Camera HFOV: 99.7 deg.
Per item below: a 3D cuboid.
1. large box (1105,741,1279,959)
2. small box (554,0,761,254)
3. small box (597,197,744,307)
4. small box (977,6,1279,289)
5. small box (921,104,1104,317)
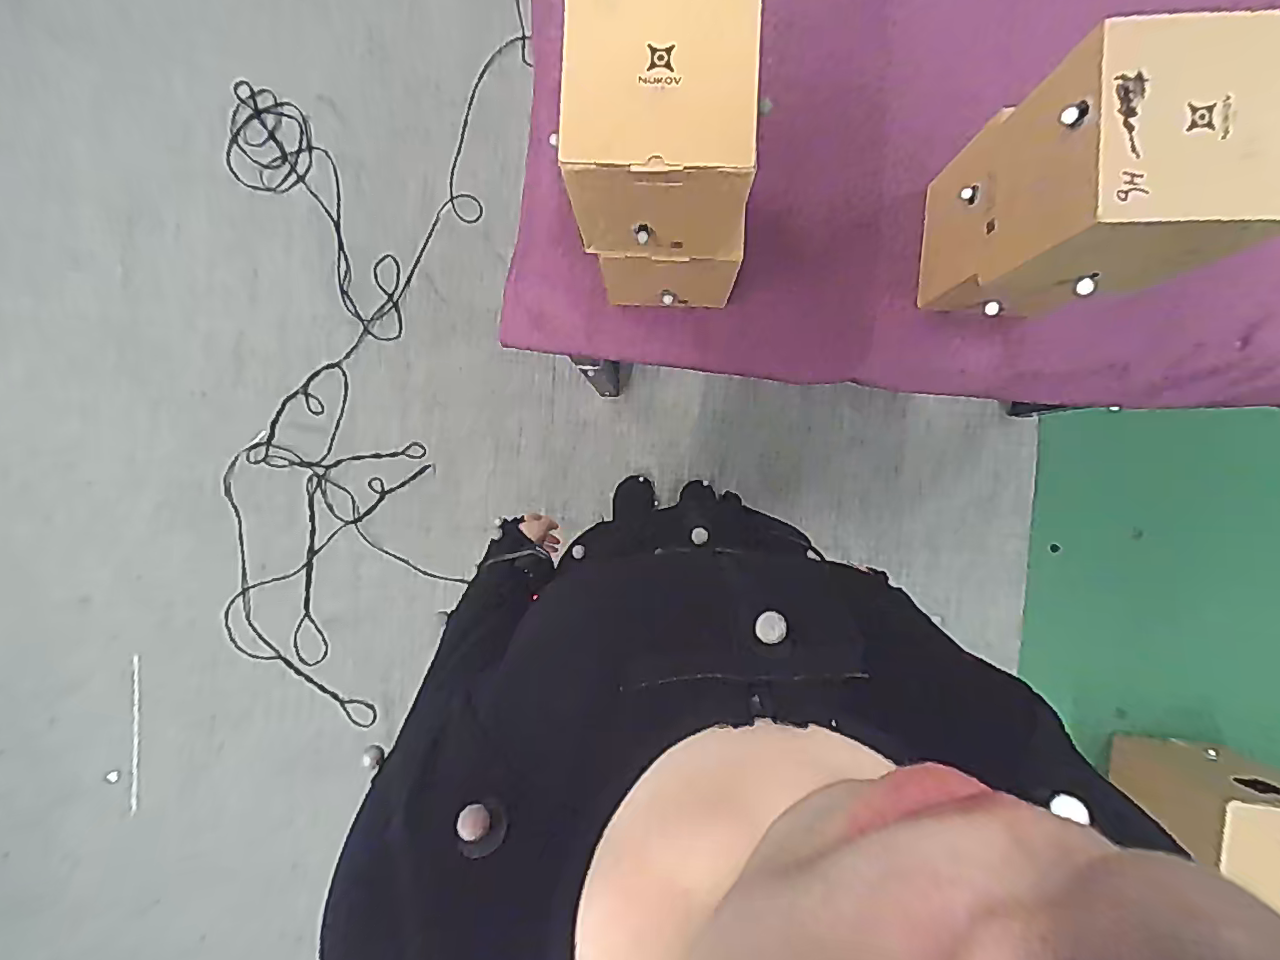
[{"bbox_3d":[1.415,0.907,1.307,0.320,0.320,0.408,5,92,3],"label":"large box"},{"bbox_3d":[0.016,-0.342,0.520,0.168,0.176,0.179,2,90,2],"label":"small box"},{"bbox_3d":[0.037,-0.334,0.681,0.168,0.176,0.179,2,90,3],"label":"small box"},{"bbox_3d":[0.455,-0.288,0.504,0.179,0.176,0.168,1,91,2],"label":"small box"},{"bbox_3d":[0.472,-0.317,0.667,0.168,0.176,0.179,5,91,2],"label":"small box"}]
